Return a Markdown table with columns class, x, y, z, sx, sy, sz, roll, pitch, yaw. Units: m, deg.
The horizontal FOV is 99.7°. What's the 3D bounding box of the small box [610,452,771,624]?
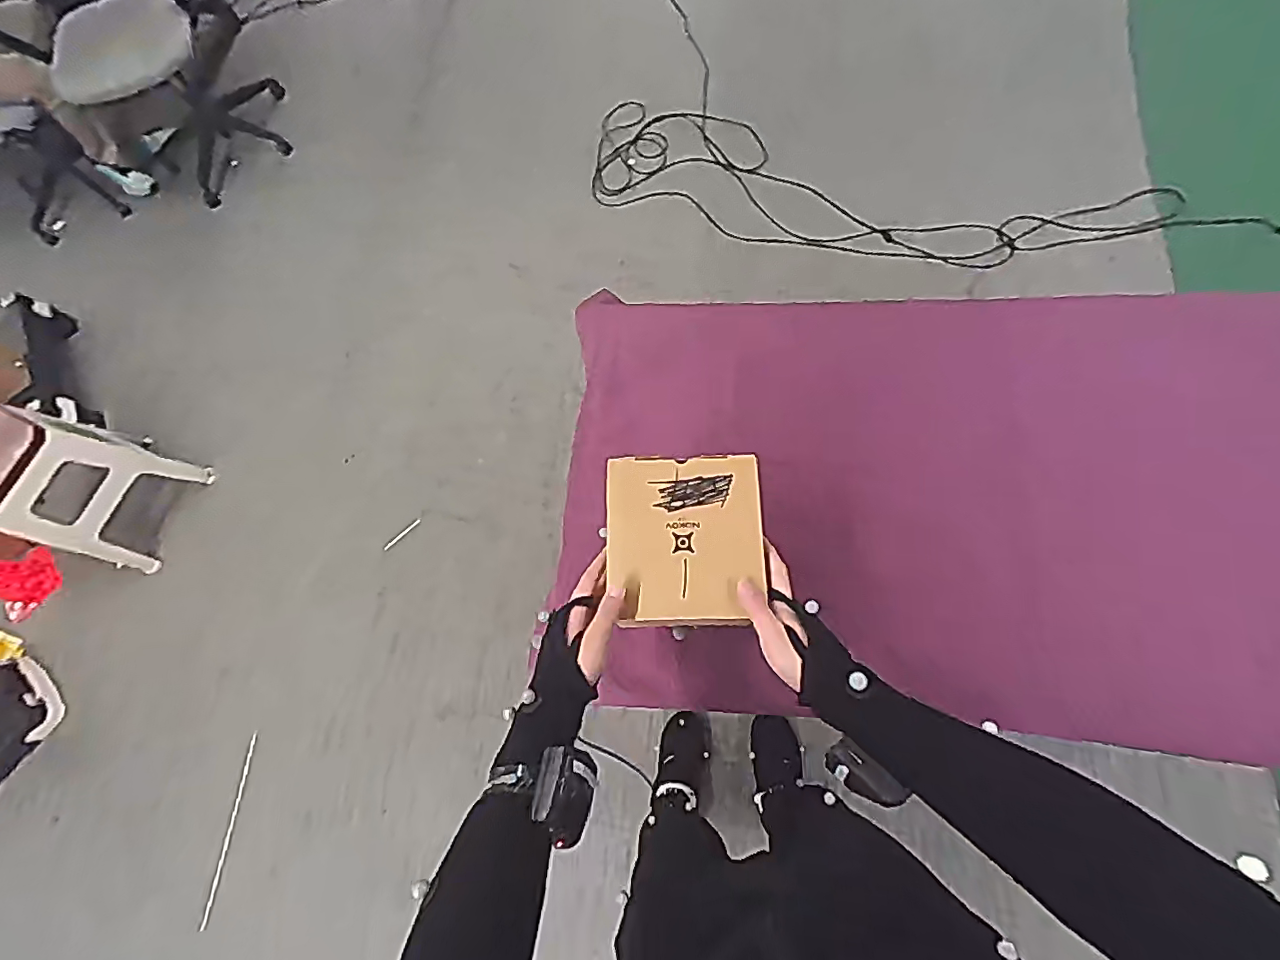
| class | x | y | z | sx | sy | sz | roll | pitch | yaw |
| --- | --- | --- | --- | --- | --- | --- | --- | --- | --- |
| small box | 0.054 | 0.077 | 0.643 | 0.168 | 0.176 | 0.179 | -1 | 73 | 2 |
